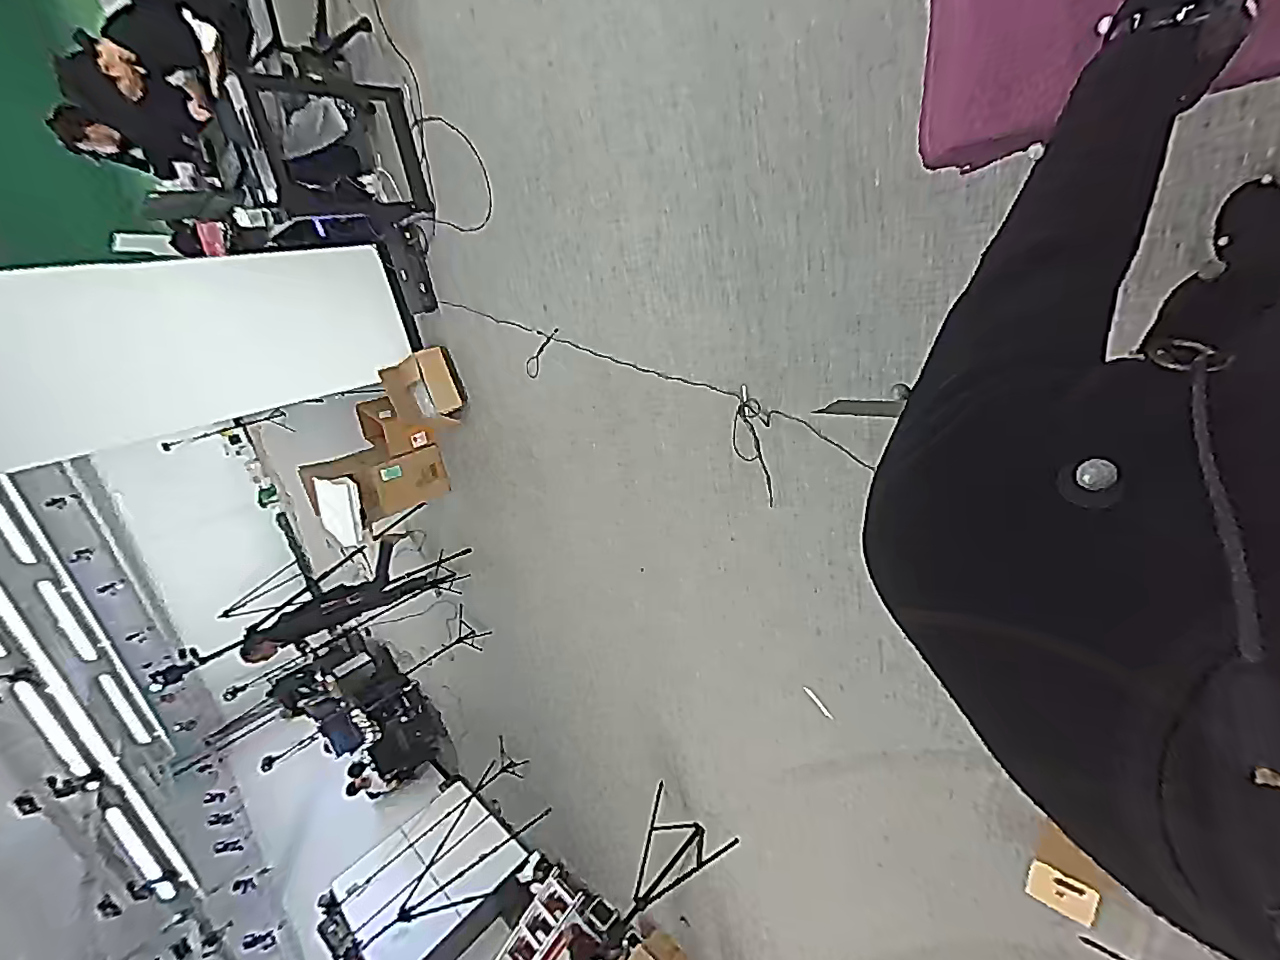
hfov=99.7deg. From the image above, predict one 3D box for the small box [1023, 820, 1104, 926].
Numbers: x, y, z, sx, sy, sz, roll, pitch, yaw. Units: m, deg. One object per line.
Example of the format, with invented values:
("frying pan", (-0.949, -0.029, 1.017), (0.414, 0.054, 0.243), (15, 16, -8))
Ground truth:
("small box", (1.338, 1.229, 1.705), (0.168, 0.176, 0.179), (15, 123, 43))
